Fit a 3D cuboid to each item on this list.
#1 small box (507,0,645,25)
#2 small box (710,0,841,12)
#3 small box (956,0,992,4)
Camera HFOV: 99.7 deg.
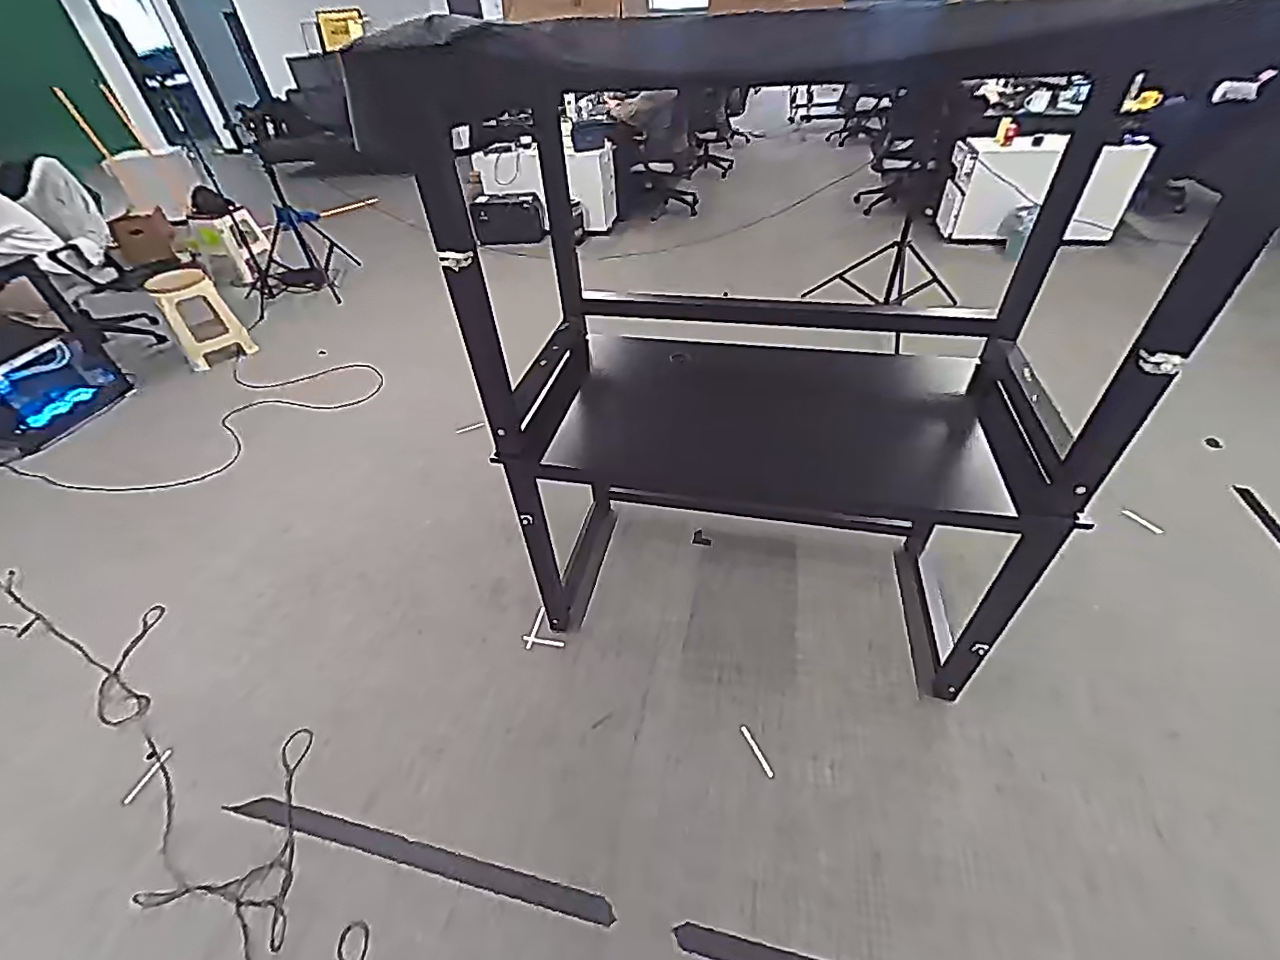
[{"bbox_3d":[-0.086,-0.721,0.721,0.168,0.176,0.179,7,42,10],"label":"small box"},{"bbox_3d":[0.180,-0.692,0.668,0.168,0.176,0.179,7,41,12],"label":"small box"},{"bbox_3d":[0.473,-0.661,0.613,0.168,0.176,0.179,9,42,15],"label":"small box"}]
